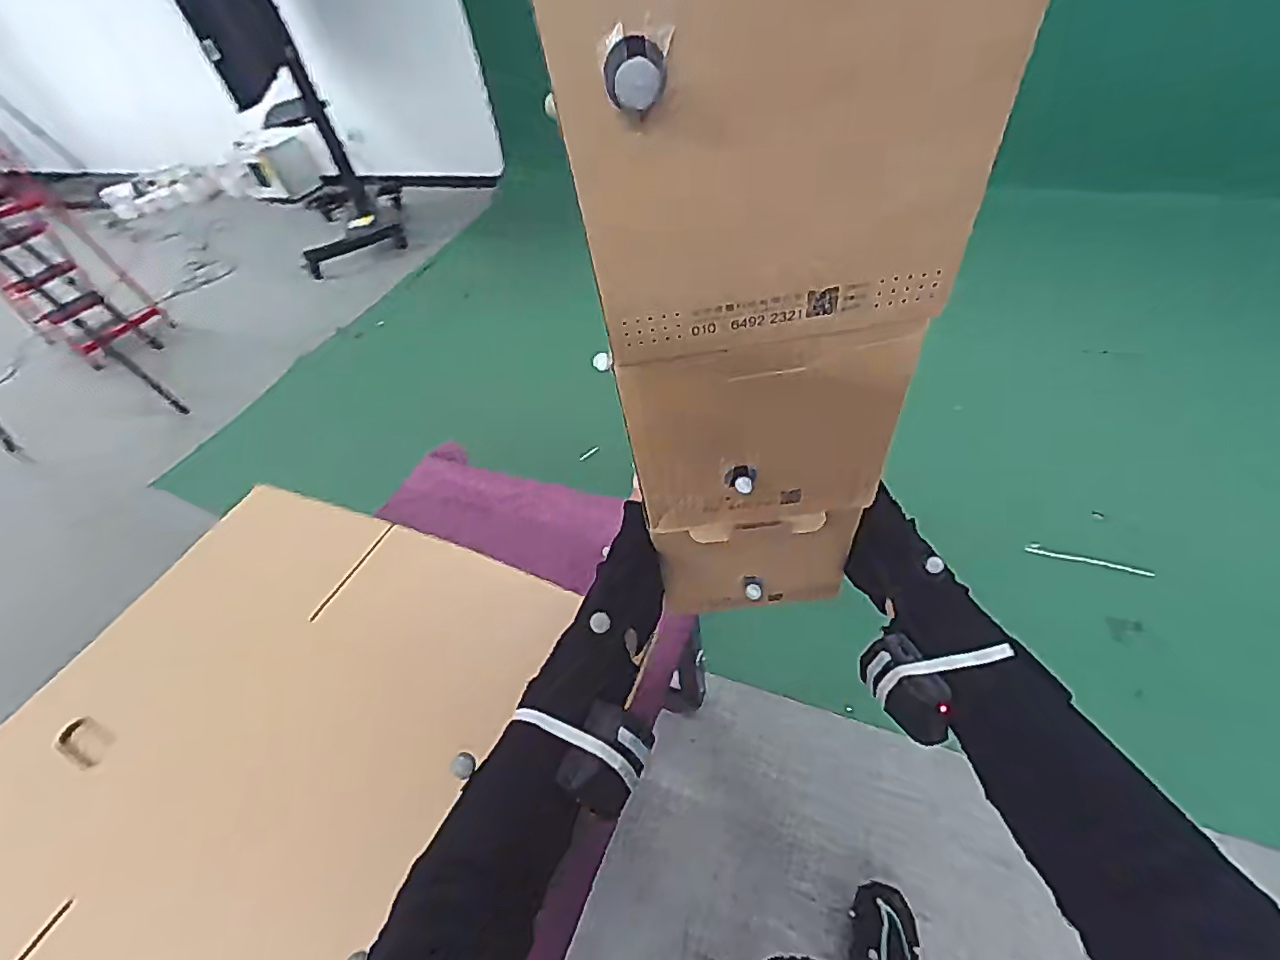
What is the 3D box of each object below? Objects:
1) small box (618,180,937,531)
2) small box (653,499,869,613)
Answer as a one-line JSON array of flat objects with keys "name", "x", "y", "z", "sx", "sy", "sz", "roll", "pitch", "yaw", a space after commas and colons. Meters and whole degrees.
[{"name": "small box", "x": 0.078, "y": -0.086, "z": 0.395, "sx": 0.168, "sy": 0.176, "sz": 0.179, "roll": -8, "pitch": 51, "yaw": 4}, {"name": "small box", "x": 0.102, "y": 0.009, "z": 0.526, "sx": 0.168, "sy": 0.176, "sz": 0.179, "roll": -6, "pitch": 51, "yaw": 6}]
